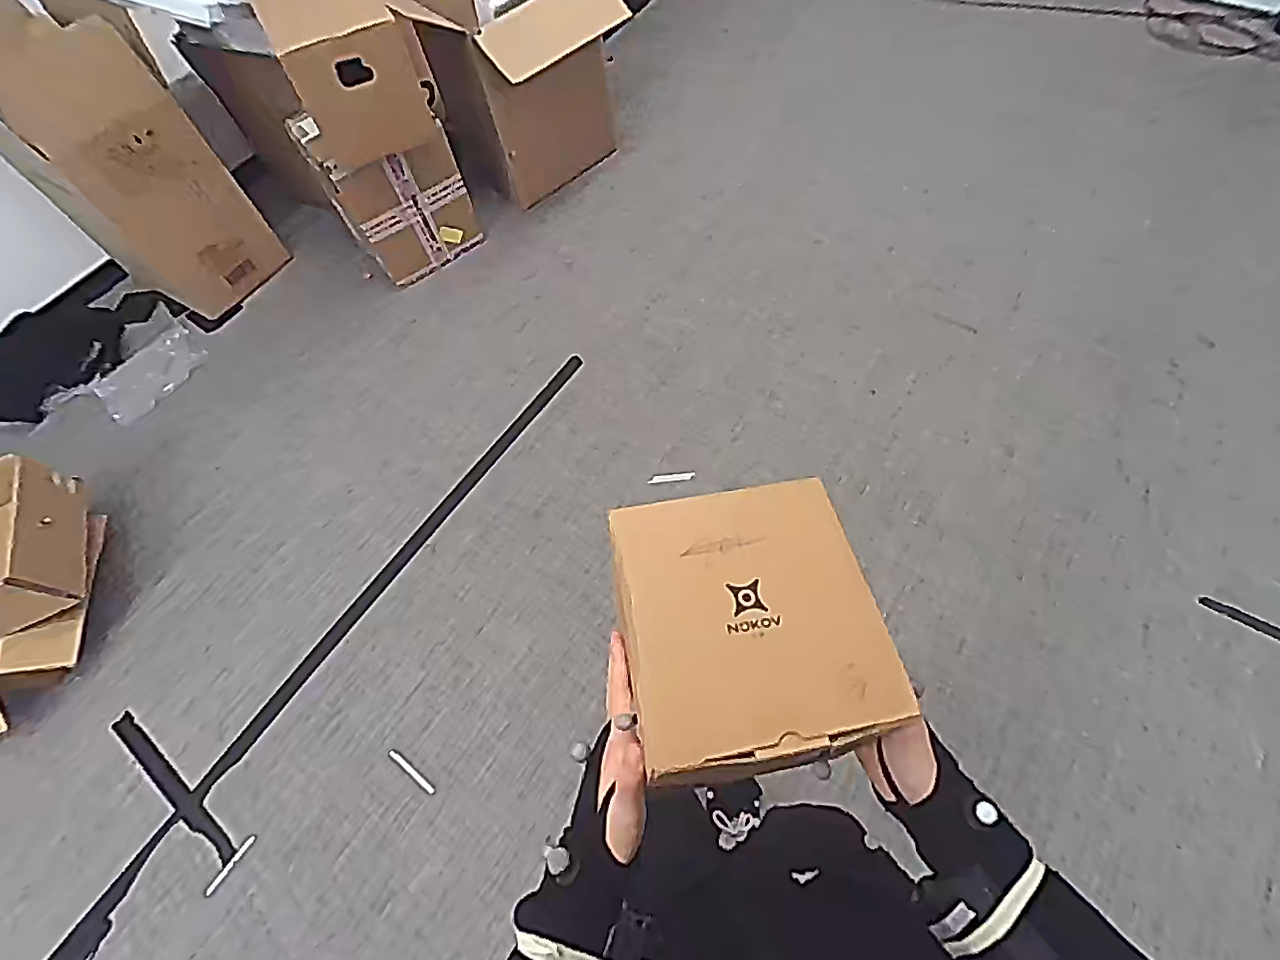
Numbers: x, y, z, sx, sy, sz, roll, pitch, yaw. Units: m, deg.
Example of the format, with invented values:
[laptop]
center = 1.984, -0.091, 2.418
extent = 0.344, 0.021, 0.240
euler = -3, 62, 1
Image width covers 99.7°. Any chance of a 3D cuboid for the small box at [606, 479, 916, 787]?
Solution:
[small box]
center = 0.070, 0.126, 0.421
extent = 0.168, 0.176, 0.179
euler = -8, 55, -7
